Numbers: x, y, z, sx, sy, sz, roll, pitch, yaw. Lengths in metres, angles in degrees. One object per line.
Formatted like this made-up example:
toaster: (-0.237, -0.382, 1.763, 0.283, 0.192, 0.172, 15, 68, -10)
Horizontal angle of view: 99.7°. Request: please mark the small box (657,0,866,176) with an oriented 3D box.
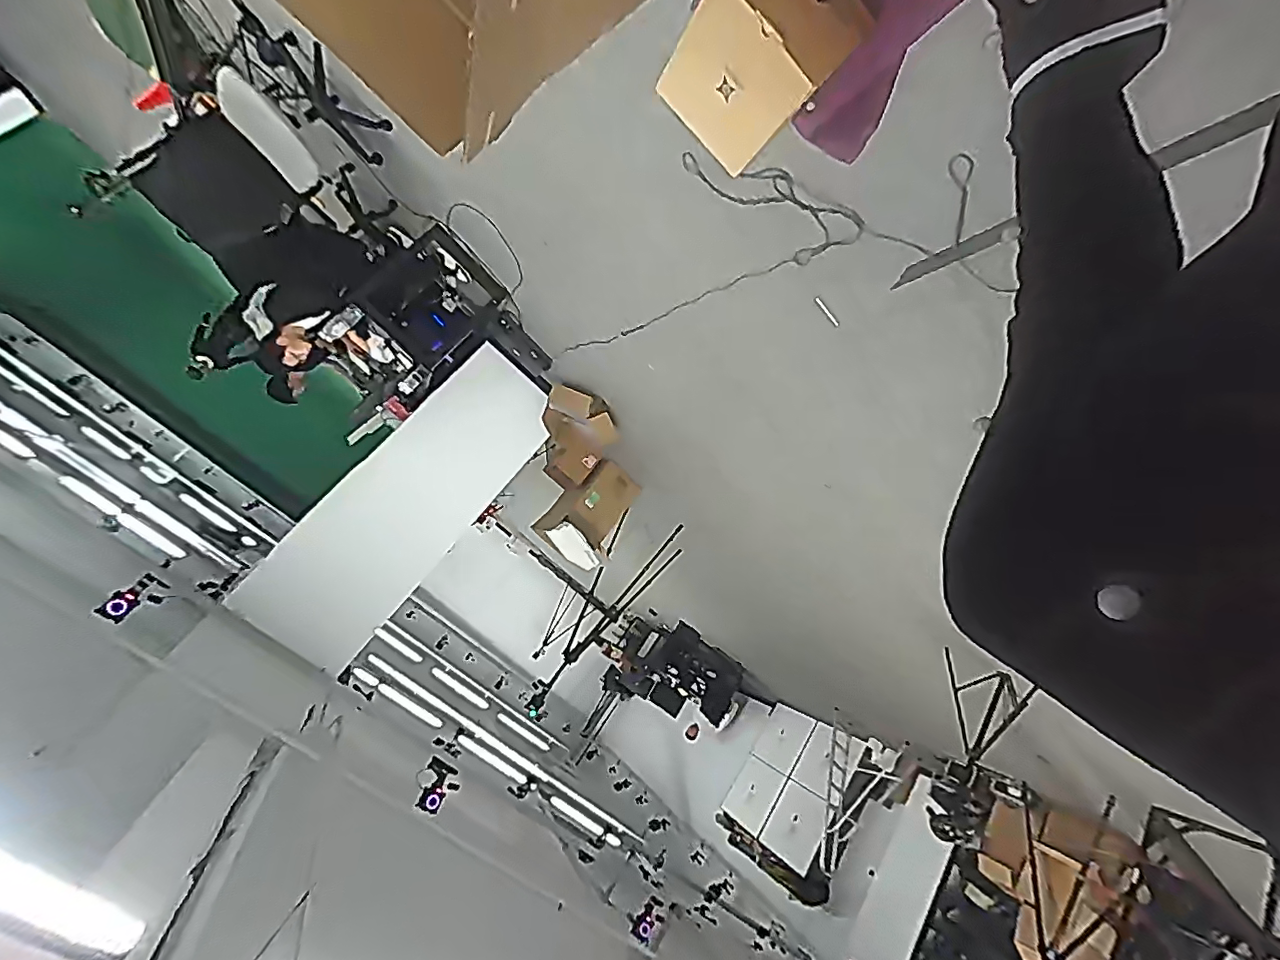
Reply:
small box: (0.159, -0.563, 0.719, 0.168, 0.176, 0.179, 42, 159, -12)
